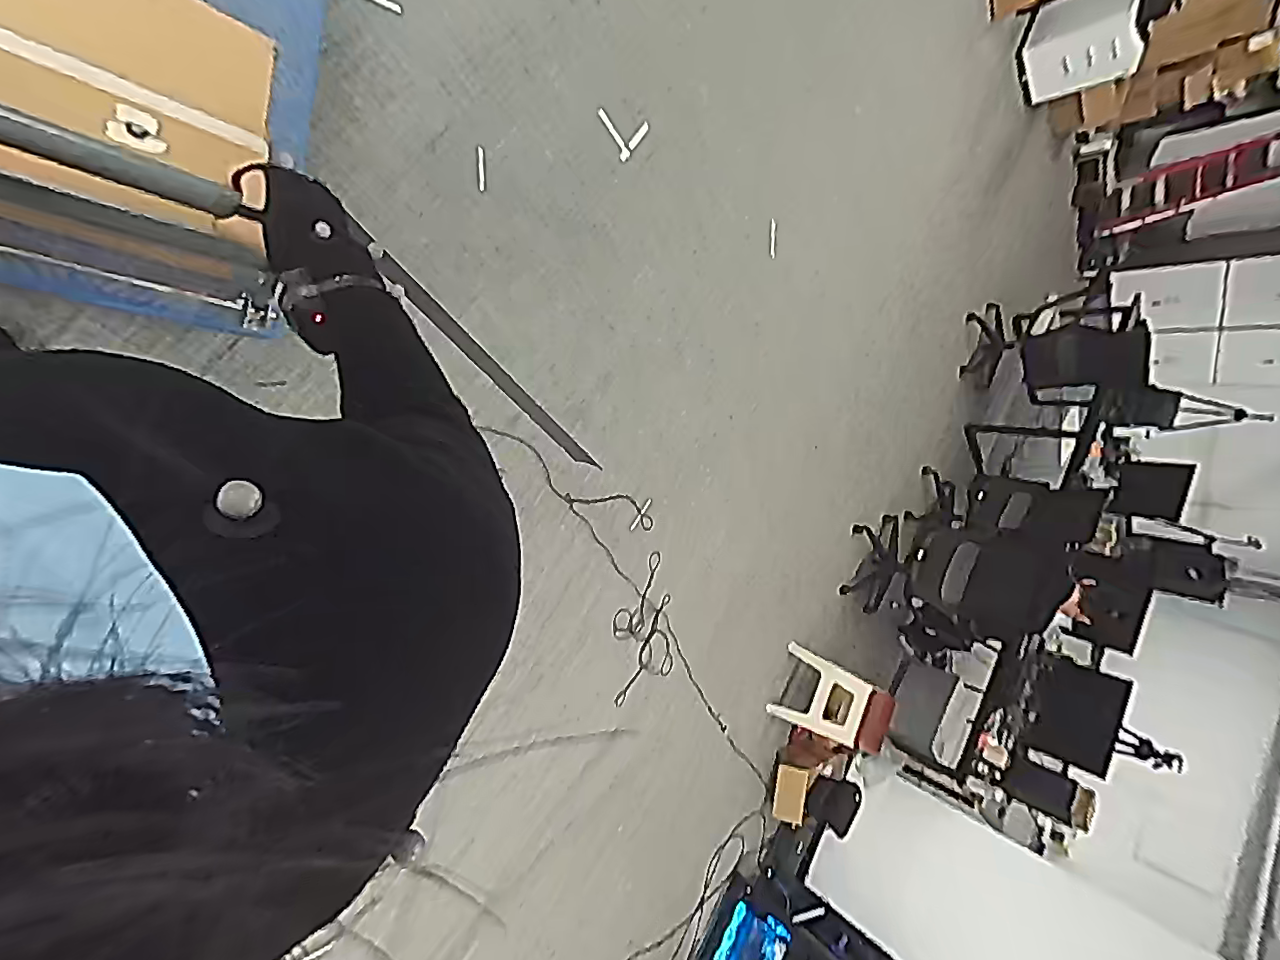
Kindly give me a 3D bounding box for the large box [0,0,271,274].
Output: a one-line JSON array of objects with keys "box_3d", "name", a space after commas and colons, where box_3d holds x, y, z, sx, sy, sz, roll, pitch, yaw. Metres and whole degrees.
[{"box_3d": [-0.813, -0.531, 0.775, 0.408, 0.320, 0.320, 7, 94, -44], "name": "large box"}]
